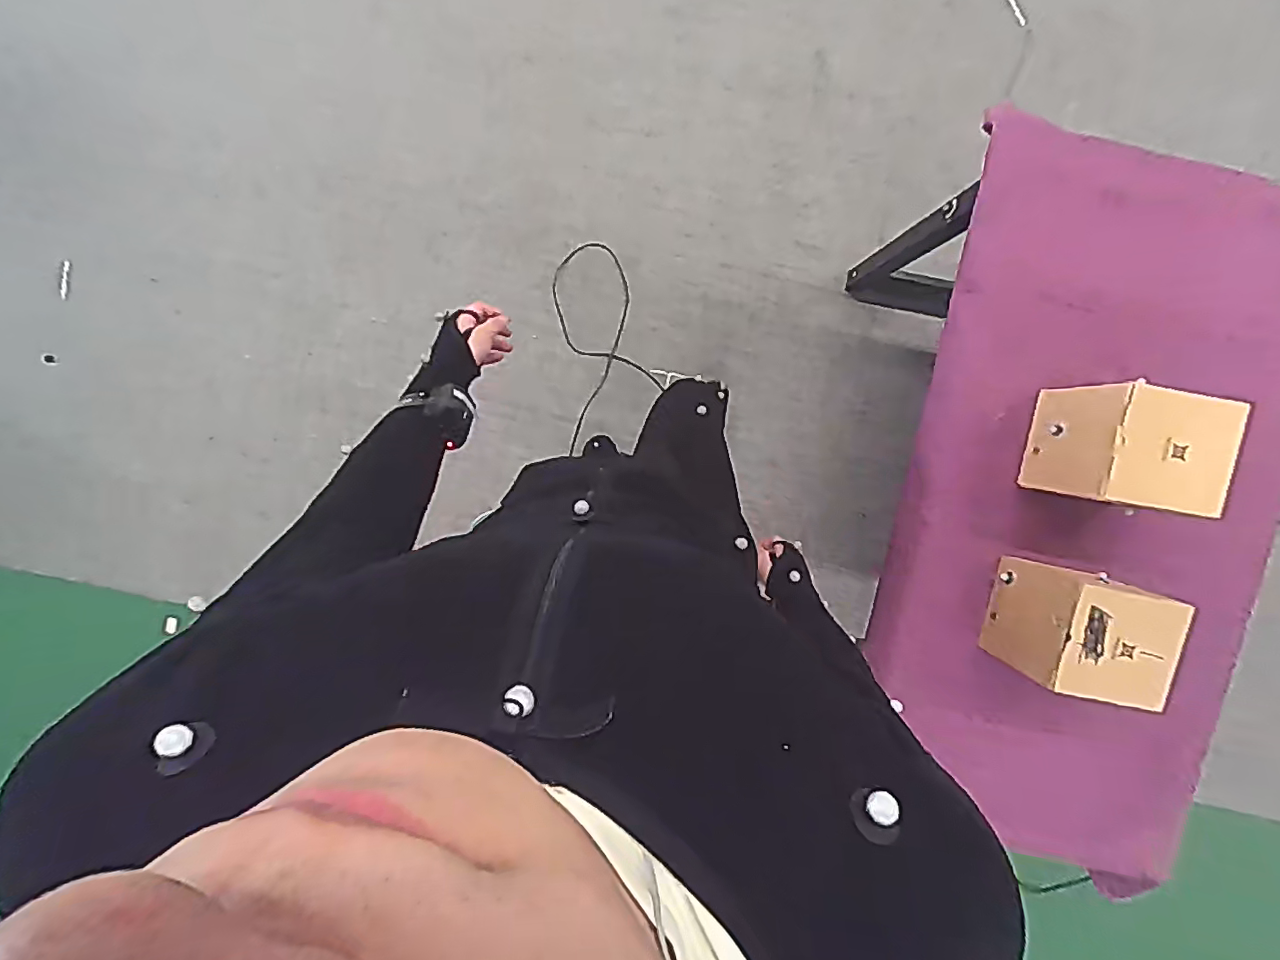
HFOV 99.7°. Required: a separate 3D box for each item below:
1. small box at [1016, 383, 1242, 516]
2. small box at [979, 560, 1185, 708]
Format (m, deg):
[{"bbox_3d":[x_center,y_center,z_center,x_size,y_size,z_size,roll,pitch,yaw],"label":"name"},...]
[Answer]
[{"bbox_3d":[0.738,-0.051,0.836,0.179,0.176,0.168,9,96,-2],"label":"small box"},{"bbox_3d":[0.687,0.233,0.864,0.179,0.176,0.168,11,95,-1],"label":"small box"}]
